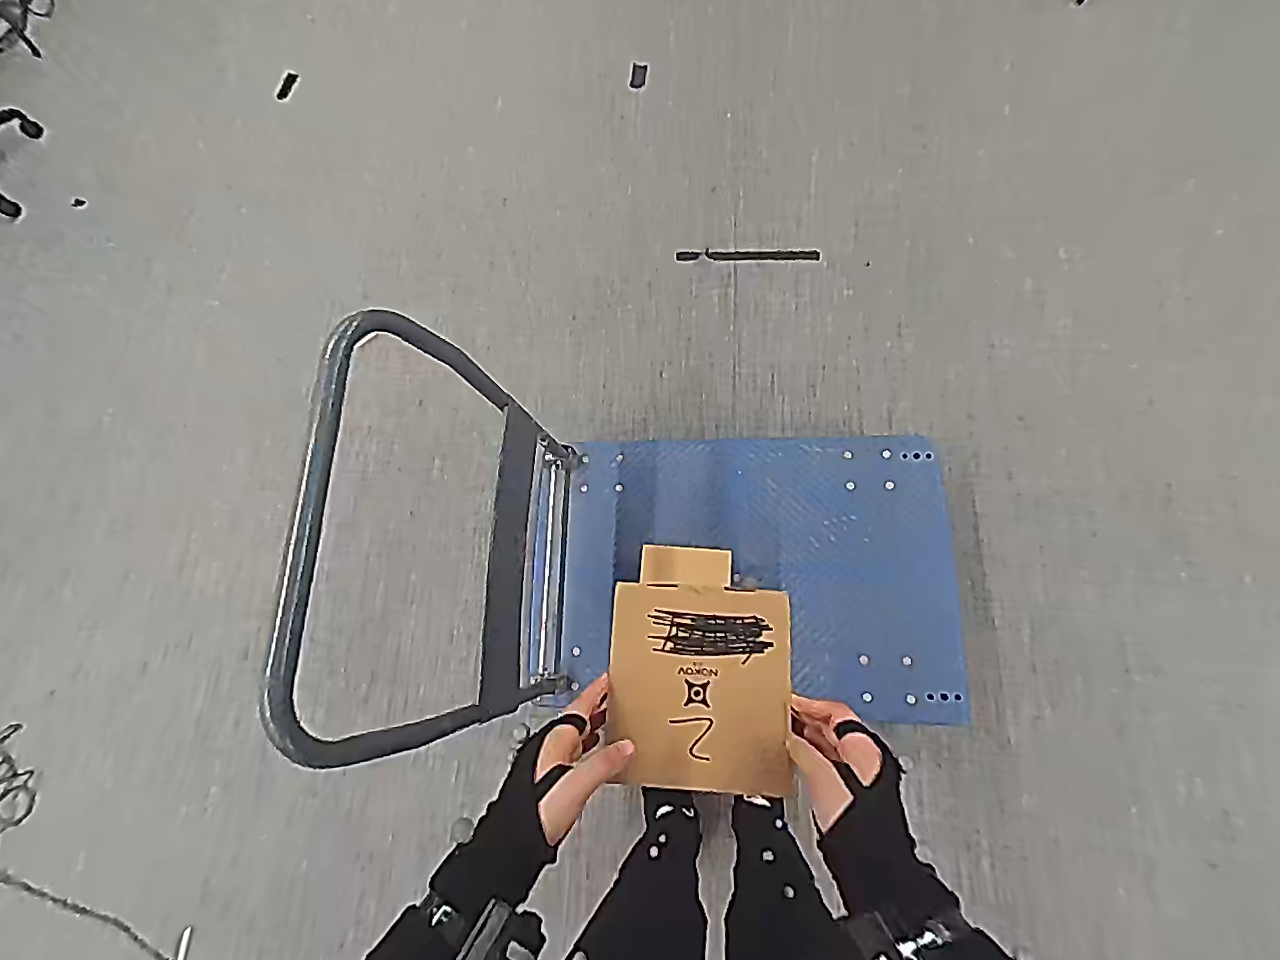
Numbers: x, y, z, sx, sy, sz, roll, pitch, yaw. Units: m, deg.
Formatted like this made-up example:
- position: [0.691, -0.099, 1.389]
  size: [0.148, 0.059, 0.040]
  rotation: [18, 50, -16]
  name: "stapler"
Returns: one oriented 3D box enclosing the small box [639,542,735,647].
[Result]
- position: [0.095, 0.225, 1.050]
  size: [0.168, 0.176, 0.179]
  rotation: [3, 76, 9]
  name: "small box"
